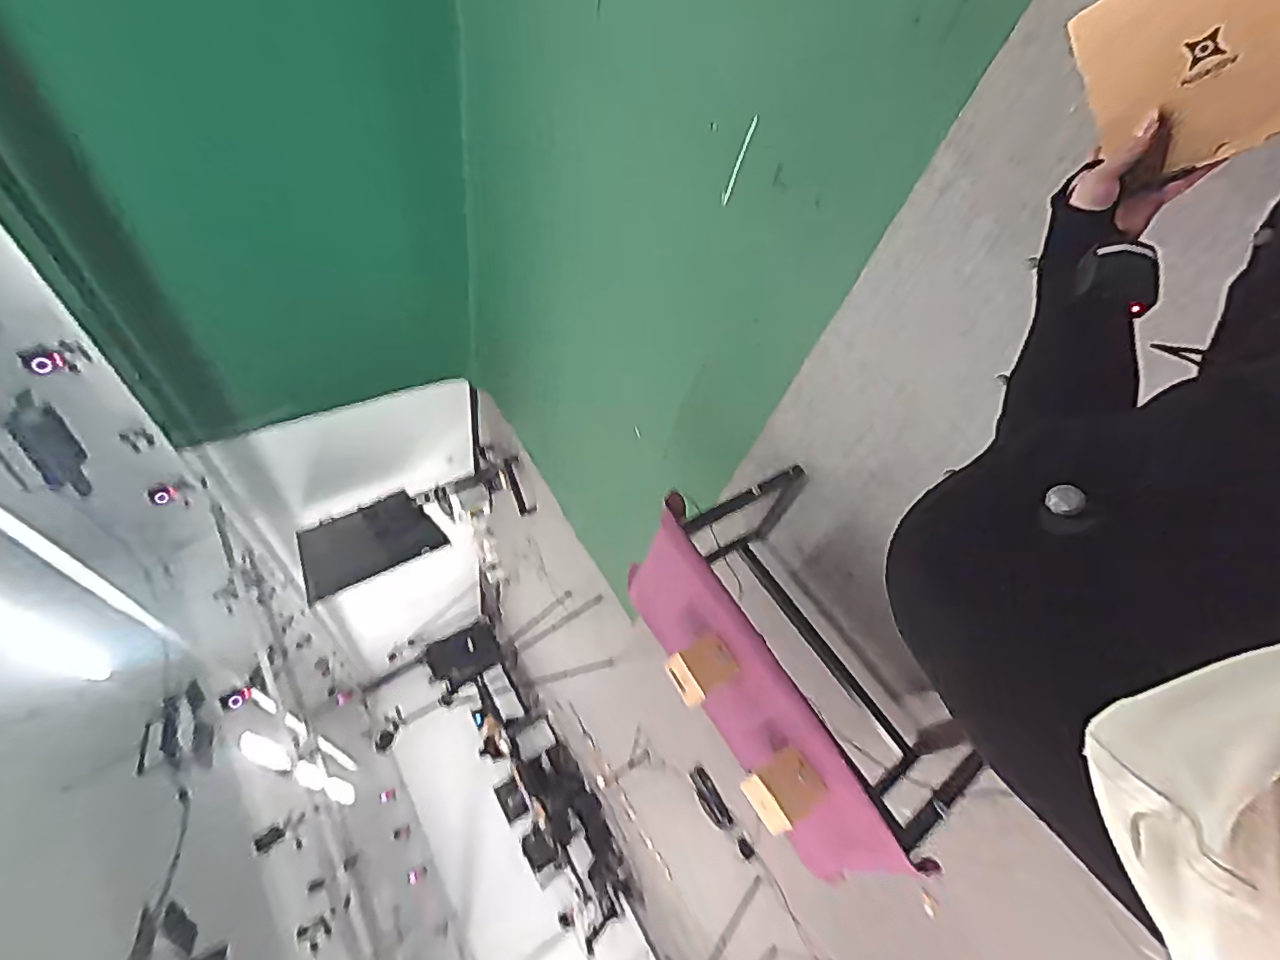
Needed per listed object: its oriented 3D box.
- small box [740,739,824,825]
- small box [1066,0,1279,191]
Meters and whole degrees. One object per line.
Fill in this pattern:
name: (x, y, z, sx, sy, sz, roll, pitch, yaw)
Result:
small box: (0.451, 0.957, 1.716, 0.168, 0.176, 0.179, 52, 149, 26)
small box: (0.543, -0.411, 0.496, 0.179, 0.176, 0.168, 60, 157, -13)
